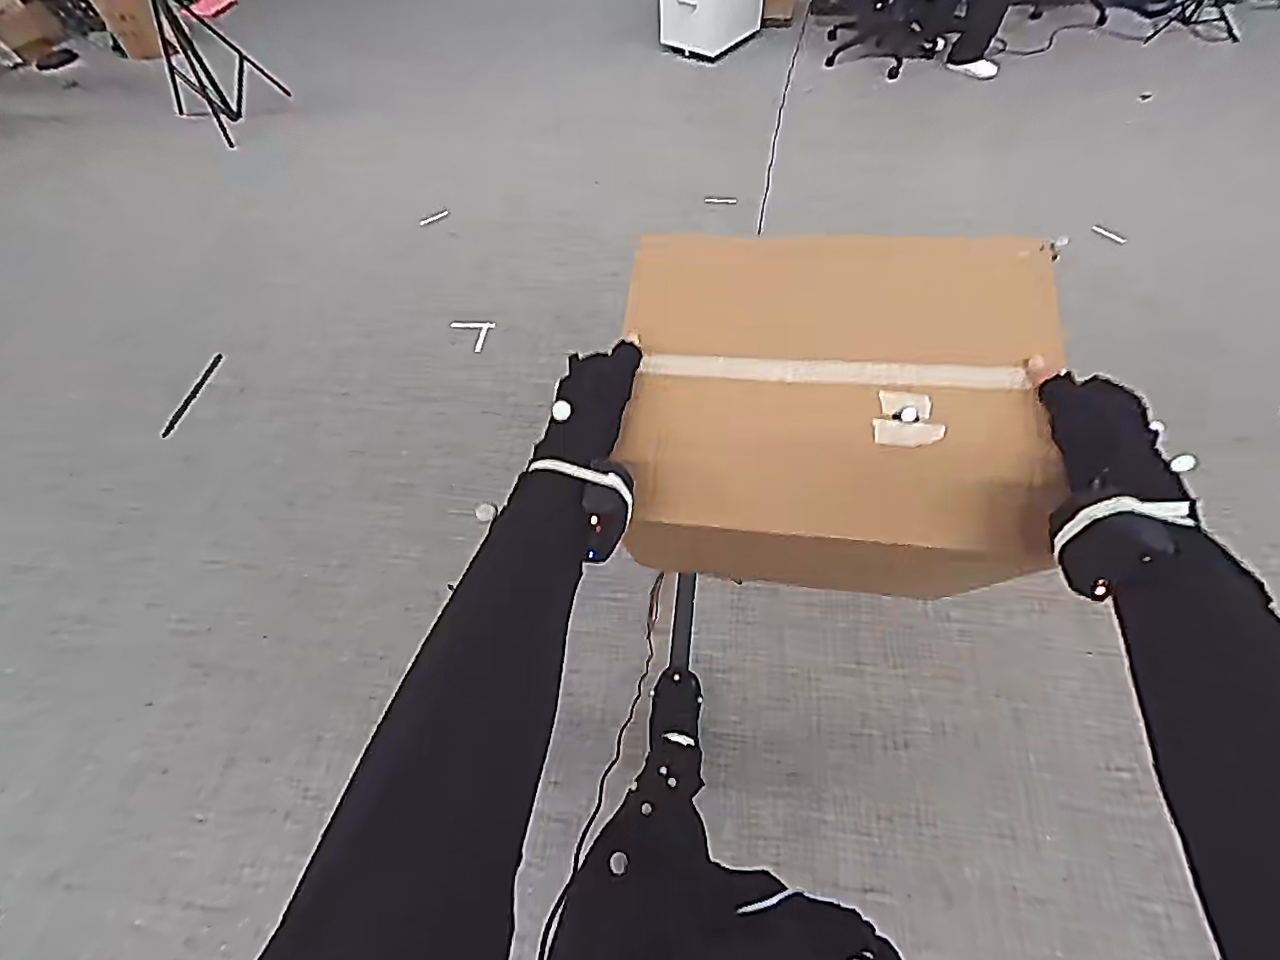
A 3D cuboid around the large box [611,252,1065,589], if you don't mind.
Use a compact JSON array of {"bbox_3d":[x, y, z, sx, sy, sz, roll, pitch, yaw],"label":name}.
[{"bbox_3d":[0.197,-0.051,0.669,0.408,0.320,0.320,4,74,8],"label":"large box"}]
